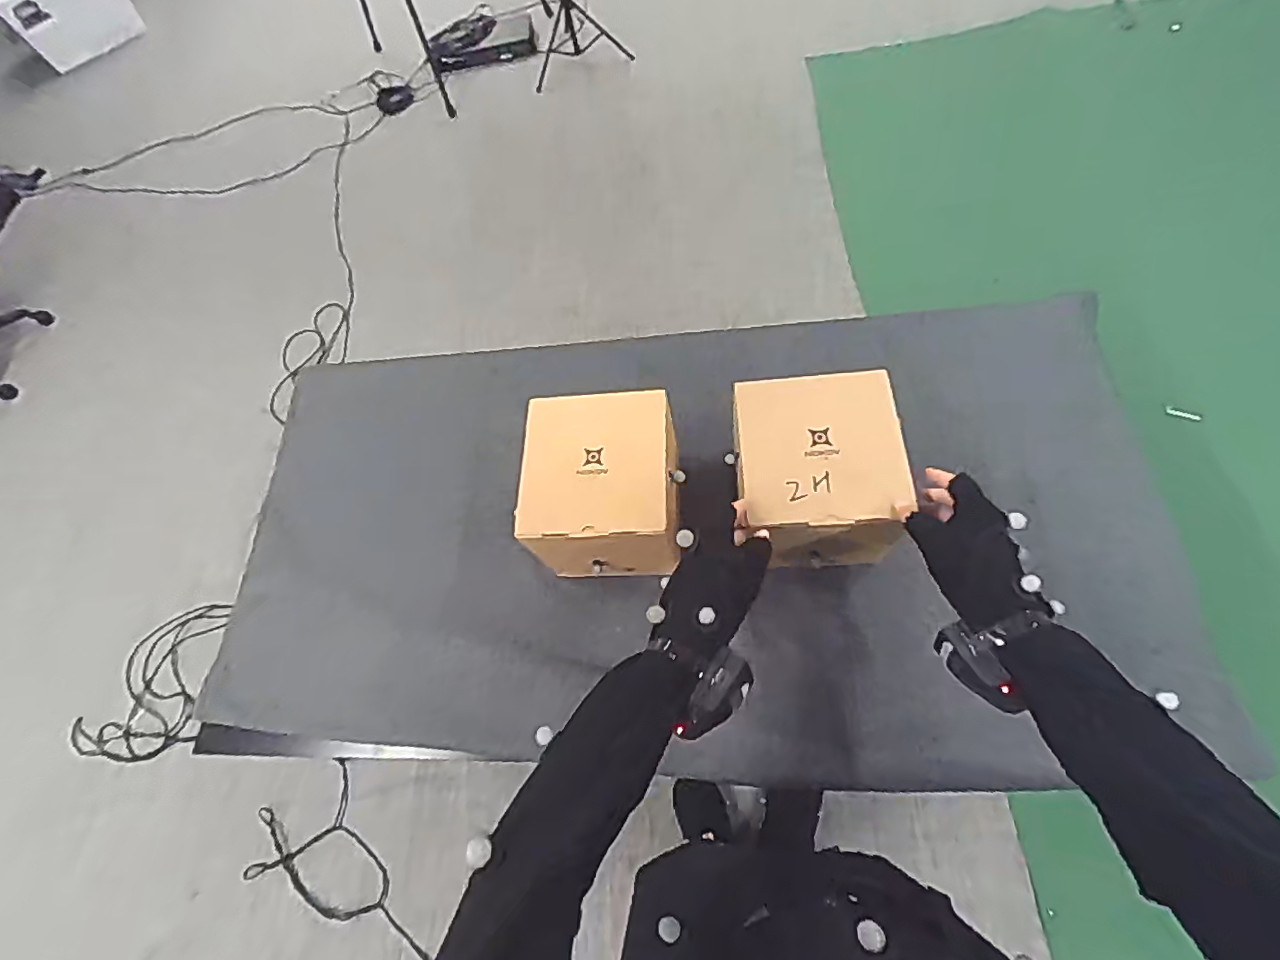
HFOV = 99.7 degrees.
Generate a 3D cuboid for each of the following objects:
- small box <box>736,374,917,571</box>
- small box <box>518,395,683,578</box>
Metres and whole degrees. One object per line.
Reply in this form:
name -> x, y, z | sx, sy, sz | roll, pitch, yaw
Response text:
small box -> 0.202, -0.001, 0.640 | 0.168, 0.176, 0.179 | -4, 66, 9
small box -> -0.037, 0.016, 0.677 | 0.168, 0.176, 0.179 | -3, 66, 9
